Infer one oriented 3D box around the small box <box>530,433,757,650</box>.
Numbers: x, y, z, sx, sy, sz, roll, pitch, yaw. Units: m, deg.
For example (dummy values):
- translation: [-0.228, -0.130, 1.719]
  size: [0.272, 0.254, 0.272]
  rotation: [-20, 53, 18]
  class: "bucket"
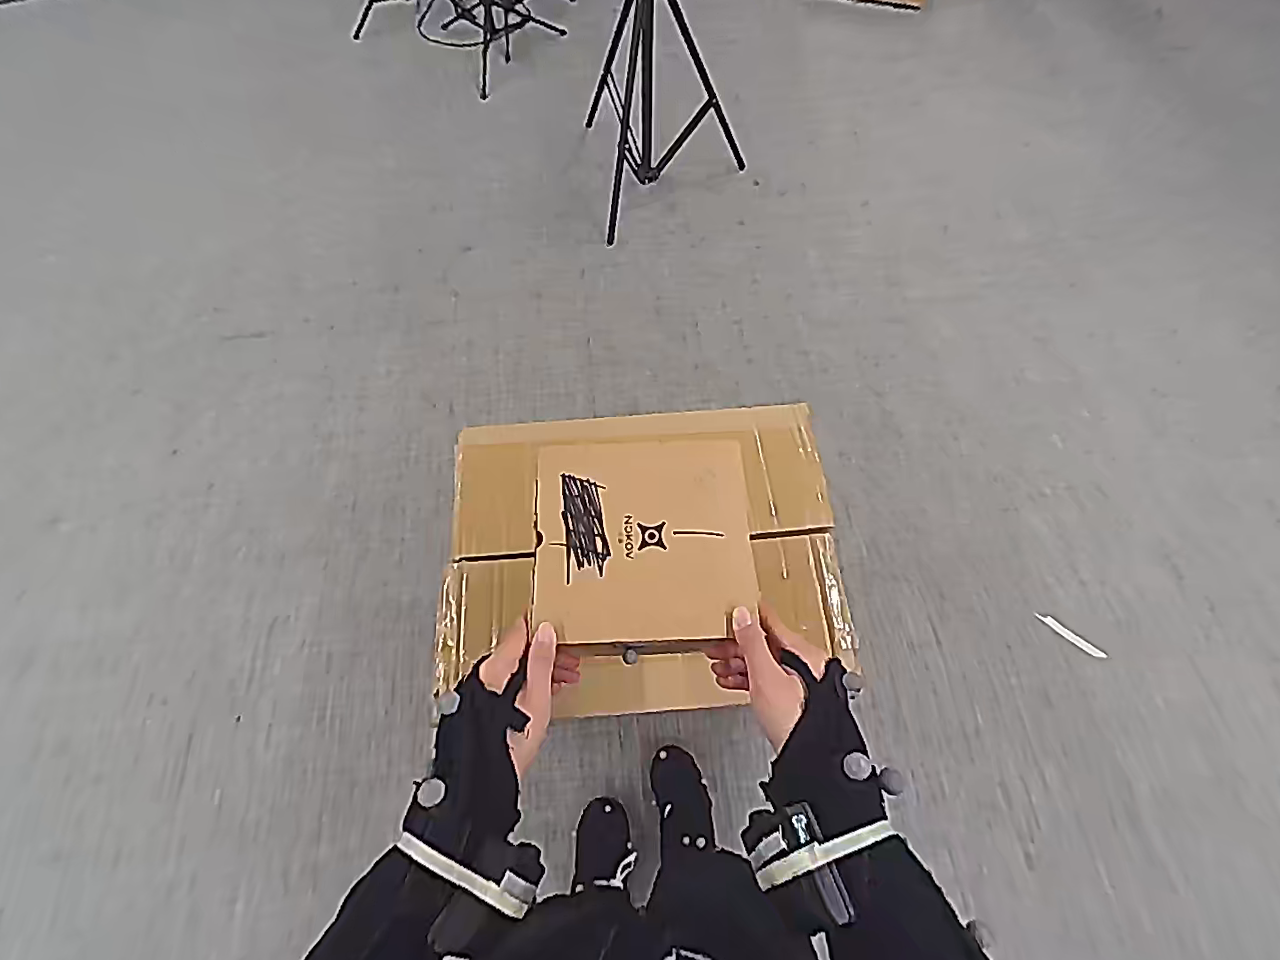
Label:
- translation: [0.002, 0.068, 0.512]
  size: [0.179, 0.176, 0.168]
  rotation: [-2, 69, -1]
  class: "small box"
